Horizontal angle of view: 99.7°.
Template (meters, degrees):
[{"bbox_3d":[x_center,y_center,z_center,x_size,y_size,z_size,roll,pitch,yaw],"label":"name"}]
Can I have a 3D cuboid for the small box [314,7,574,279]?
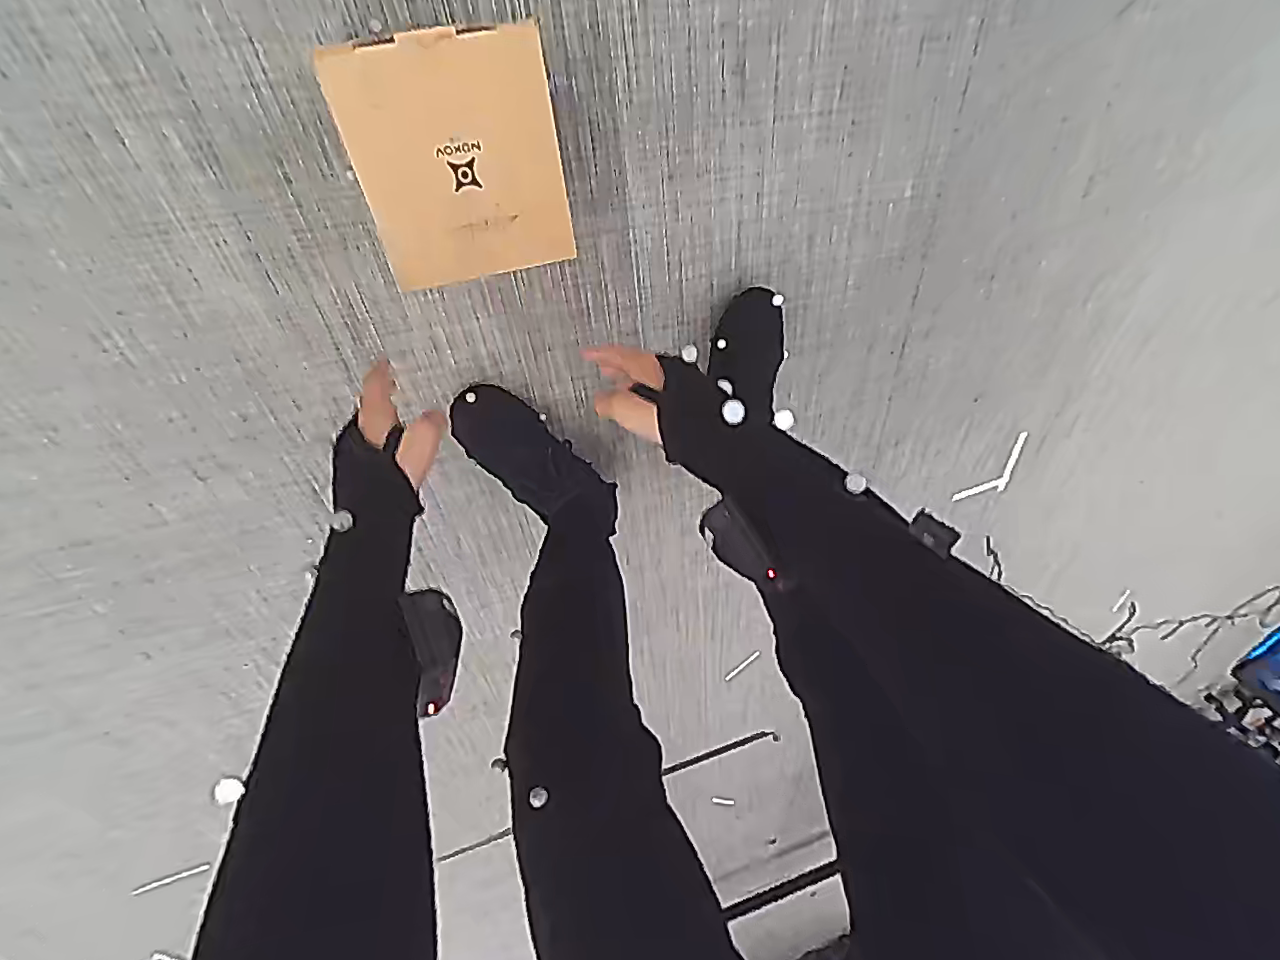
[{"bbox_3d":[-0.171,-0.314,0.507,0.168,0.176,0.179,-15,130,-9],"label":"small box"}]
